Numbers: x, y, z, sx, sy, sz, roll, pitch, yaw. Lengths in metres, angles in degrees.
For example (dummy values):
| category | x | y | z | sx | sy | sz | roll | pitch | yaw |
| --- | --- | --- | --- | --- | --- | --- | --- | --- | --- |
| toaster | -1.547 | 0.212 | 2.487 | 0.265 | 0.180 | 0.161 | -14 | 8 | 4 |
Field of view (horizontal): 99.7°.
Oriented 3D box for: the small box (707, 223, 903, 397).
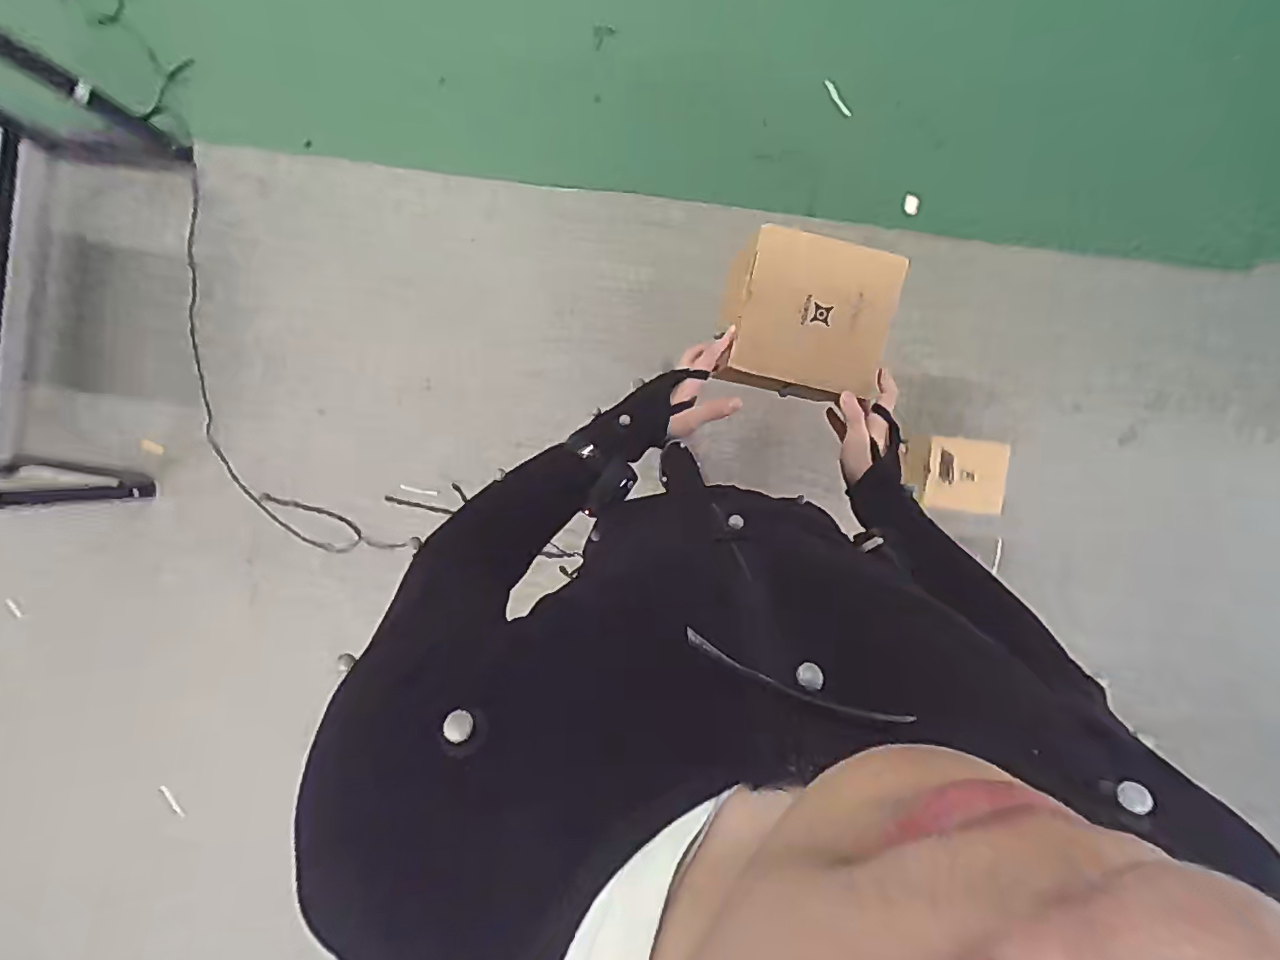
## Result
| category | x | y | z | sx | sy | sz | roll | pitch | yaw |
| --- | --- | --- | --- | --- | --- | --- | --- | --- | --- |
| small box | 0.194 | -0.202 | 0.695 | 0.179 | 0.176 | 0.168 | 11 | 97 | -4 |

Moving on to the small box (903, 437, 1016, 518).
| category | x | y | z | sx | sy | sz | roll | pitch | yaw |
| --- | --- | --- | --- | --- | --- | --- | --- | --- | --- |
| small box | 0.765 | -0.008 | 1.314 | 0.179 | 0.176 | 0.168 | 8 | 93 | 5 |
